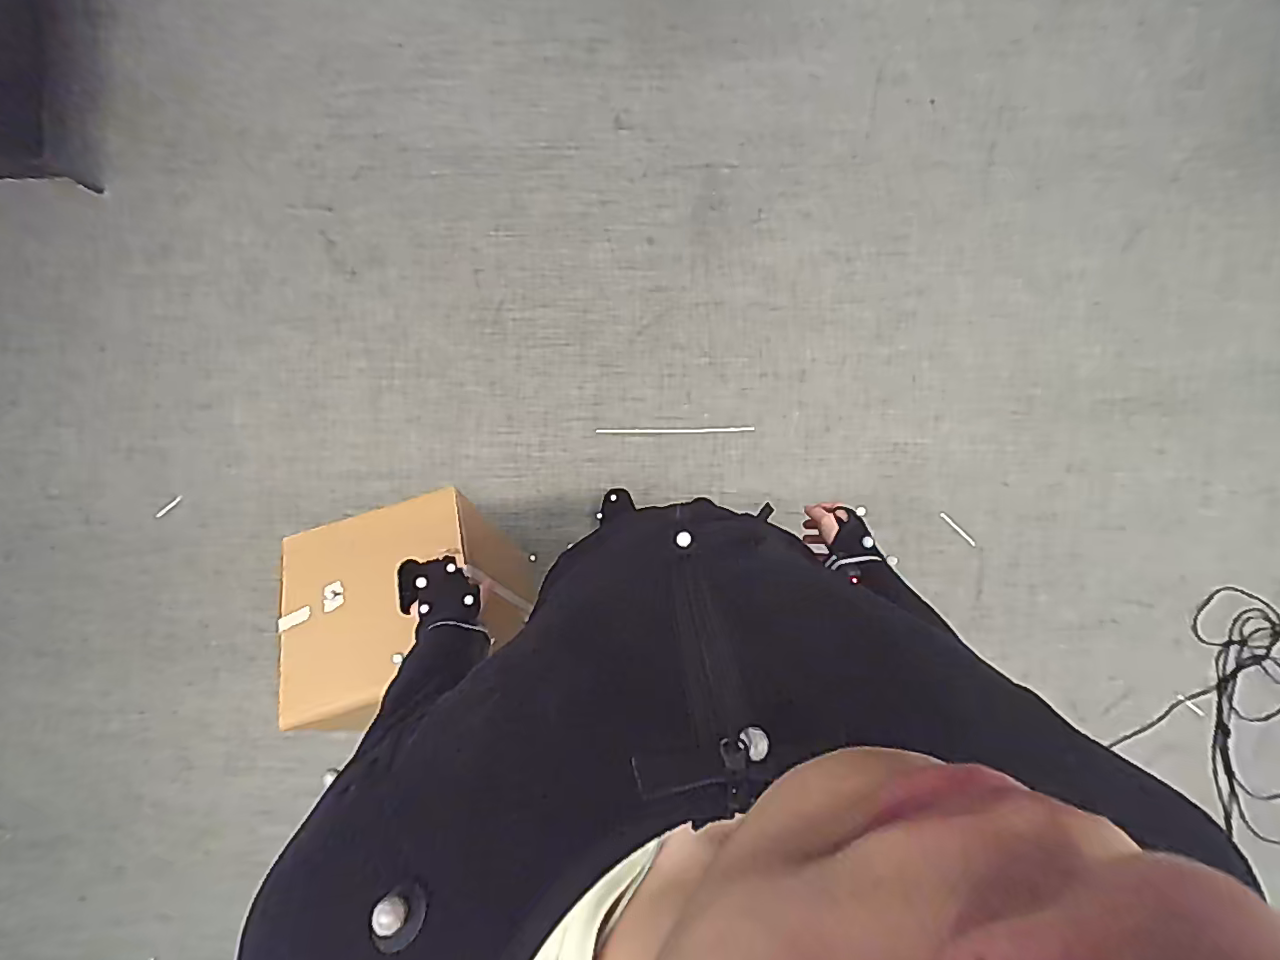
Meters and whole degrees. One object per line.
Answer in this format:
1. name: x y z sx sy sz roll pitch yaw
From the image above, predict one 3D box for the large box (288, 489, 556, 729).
1. large box: -0.389 0.266 1.034 0.320 0.408 0.320 -17 65 0
